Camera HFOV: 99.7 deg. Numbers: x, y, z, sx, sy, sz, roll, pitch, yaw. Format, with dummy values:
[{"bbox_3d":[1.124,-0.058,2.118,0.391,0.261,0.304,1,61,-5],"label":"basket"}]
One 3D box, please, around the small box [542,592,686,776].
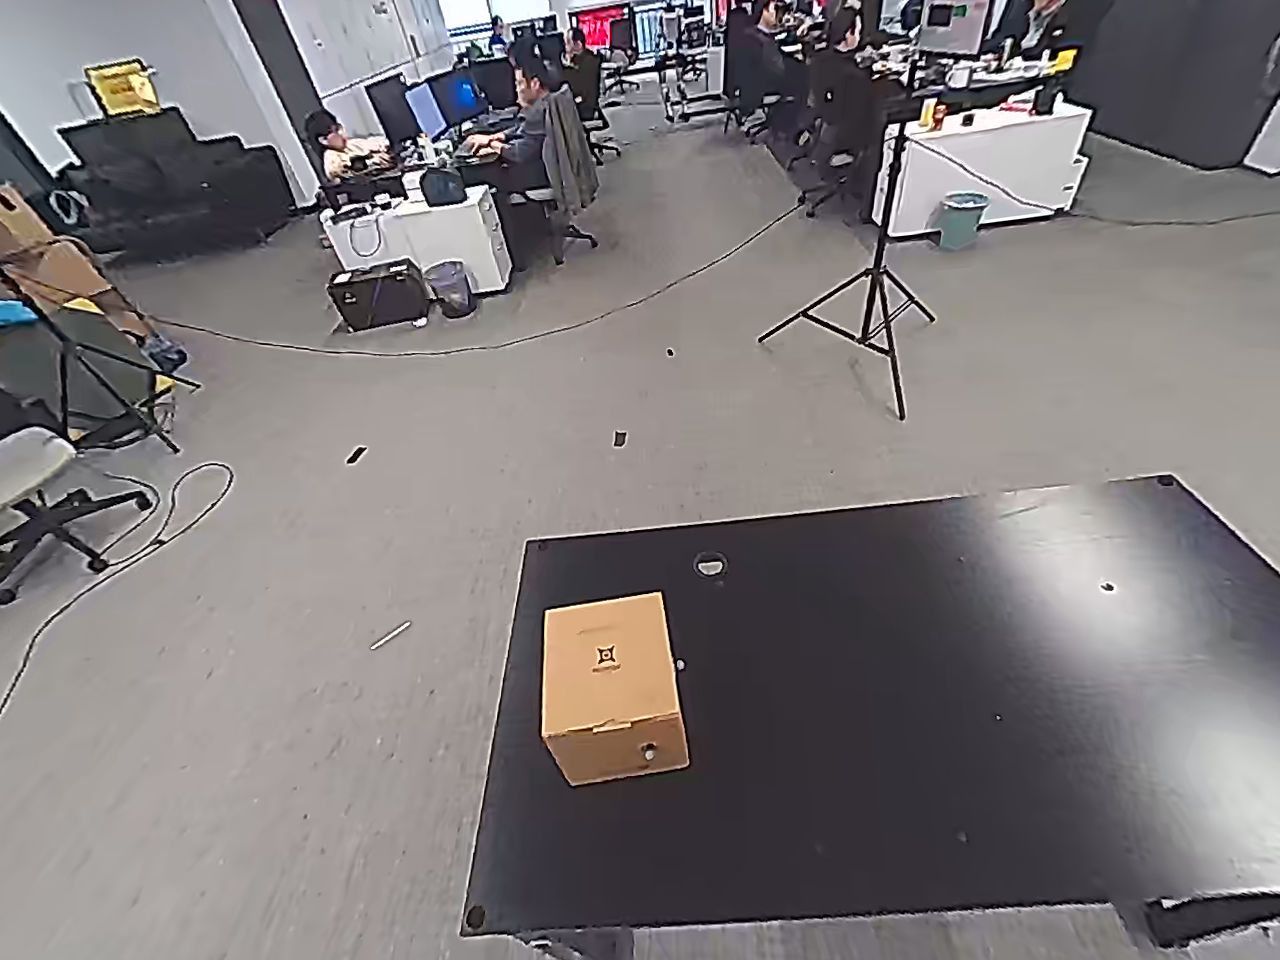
[{"bbox_3d":[-0.033,0.285,0.744,0.168,0.176,0.179,-9,42,-1],"label":"small box"}]
